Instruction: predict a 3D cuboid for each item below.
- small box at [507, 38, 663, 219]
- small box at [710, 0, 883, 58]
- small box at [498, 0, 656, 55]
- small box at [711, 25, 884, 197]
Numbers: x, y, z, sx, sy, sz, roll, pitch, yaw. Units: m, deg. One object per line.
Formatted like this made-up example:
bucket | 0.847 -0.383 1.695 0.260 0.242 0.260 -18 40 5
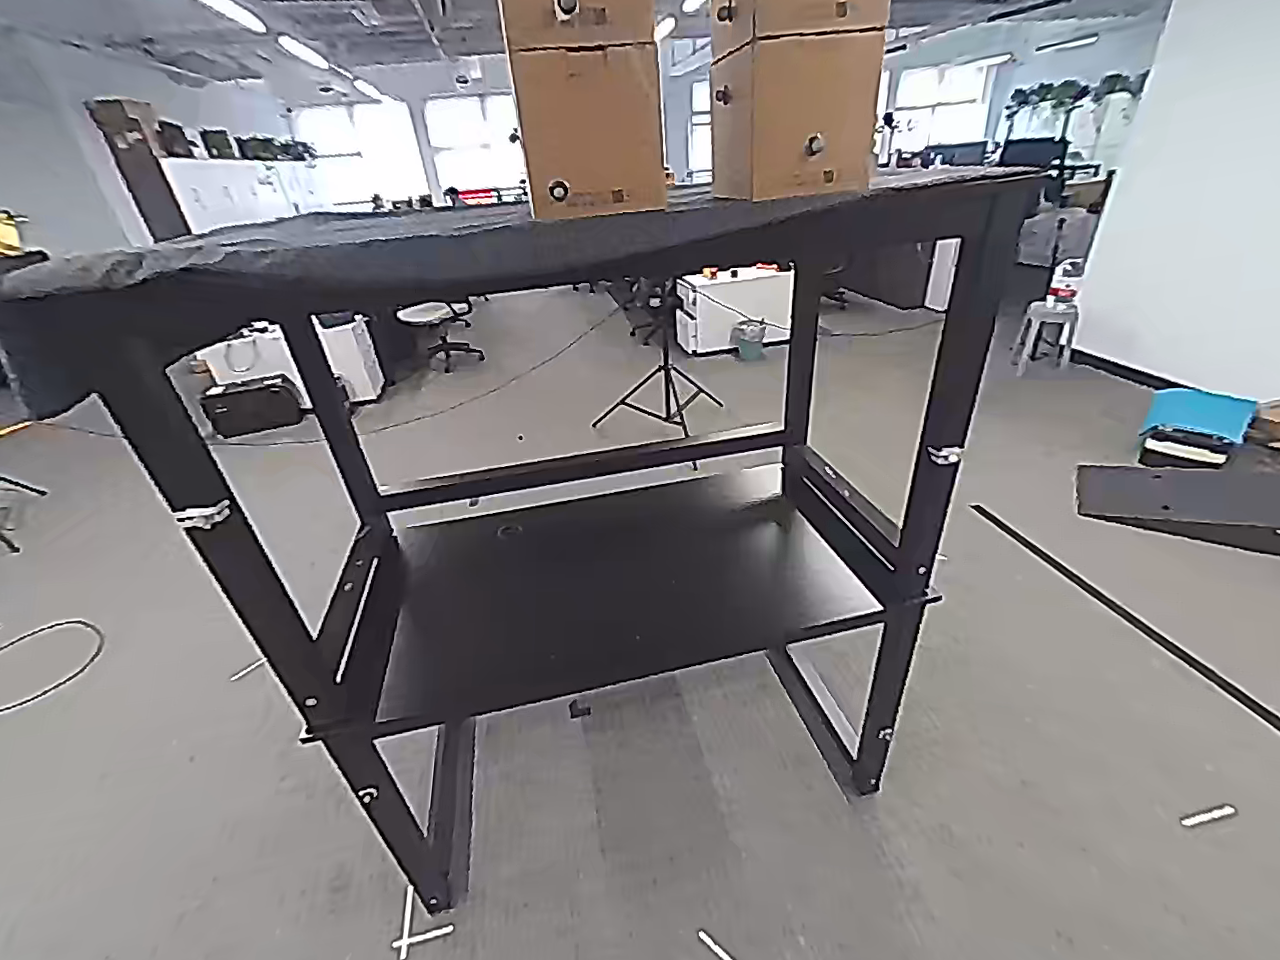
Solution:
small box | -0.070 -0.437 0.693 0.168 0.176 0.179 -10 29 -8
small box | 0.185 -0.626 0.650 0.168 0.176 0.179 -9 31 -6
small box | -0.082 -0.579 0.615 0.168 0.176 0.179 -10 30 -7
small box | 0.198 -0.485 0.732 0.168 0.176 0.179 -10 30 -6
